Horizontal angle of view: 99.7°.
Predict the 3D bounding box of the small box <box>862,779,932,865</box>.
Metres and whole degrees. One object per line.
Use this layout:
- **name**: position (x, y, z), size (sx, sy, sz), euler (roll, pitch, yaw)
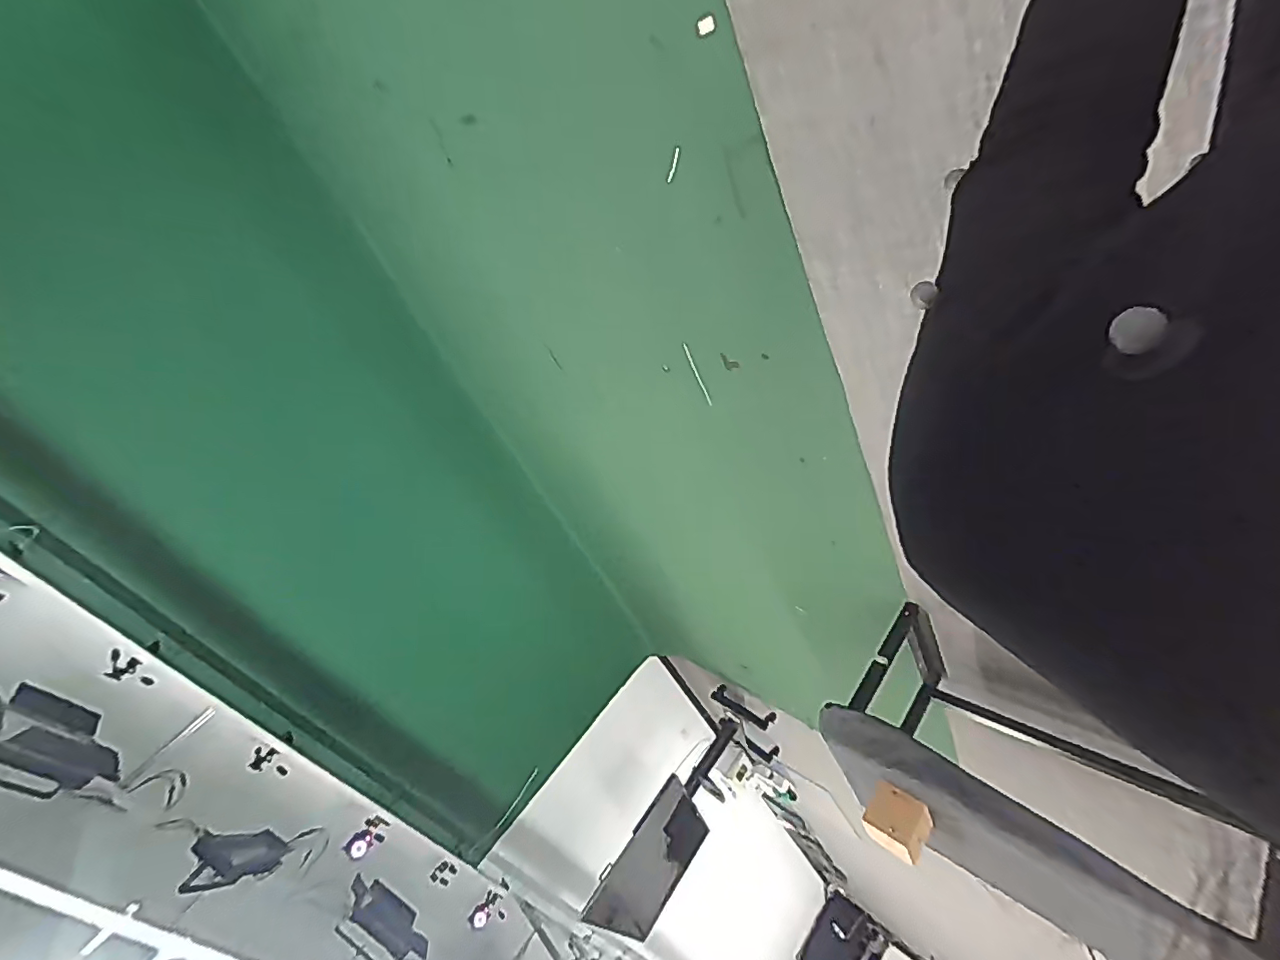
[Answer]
- **small box**: position (0.933, 1.231, 1.954), size (0.168, 0.176, 0.179), euler (12, 141, 47)
